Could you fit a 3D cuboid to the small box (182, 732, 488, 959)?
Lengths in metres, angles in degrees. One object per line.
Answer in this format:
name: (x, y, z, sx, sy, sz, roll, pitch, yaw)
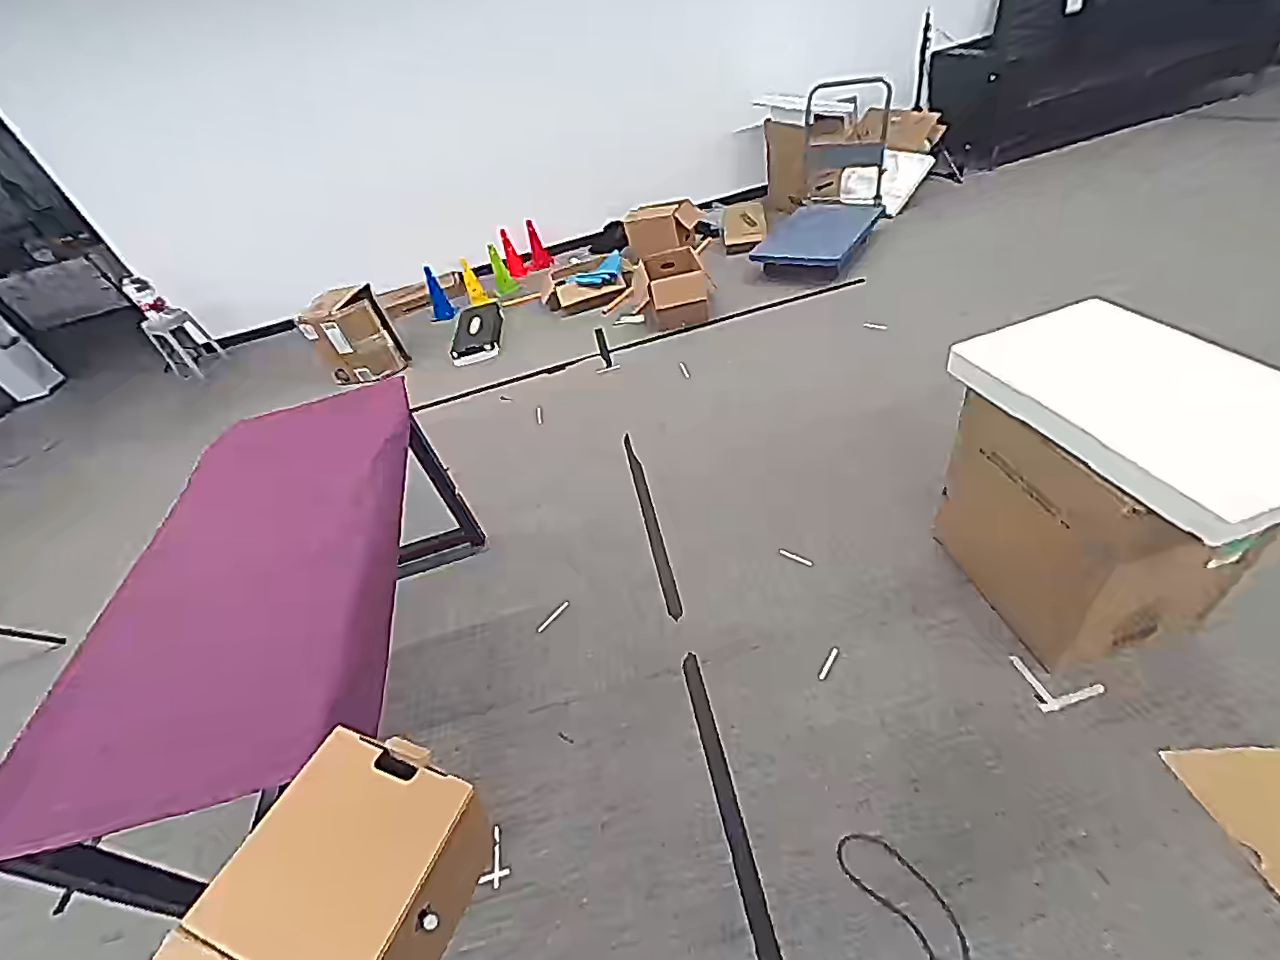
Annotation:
small box: (-0.266, 0.390, 0.524, 0.168, 0.176, 0.179, 15, 41, 14)
